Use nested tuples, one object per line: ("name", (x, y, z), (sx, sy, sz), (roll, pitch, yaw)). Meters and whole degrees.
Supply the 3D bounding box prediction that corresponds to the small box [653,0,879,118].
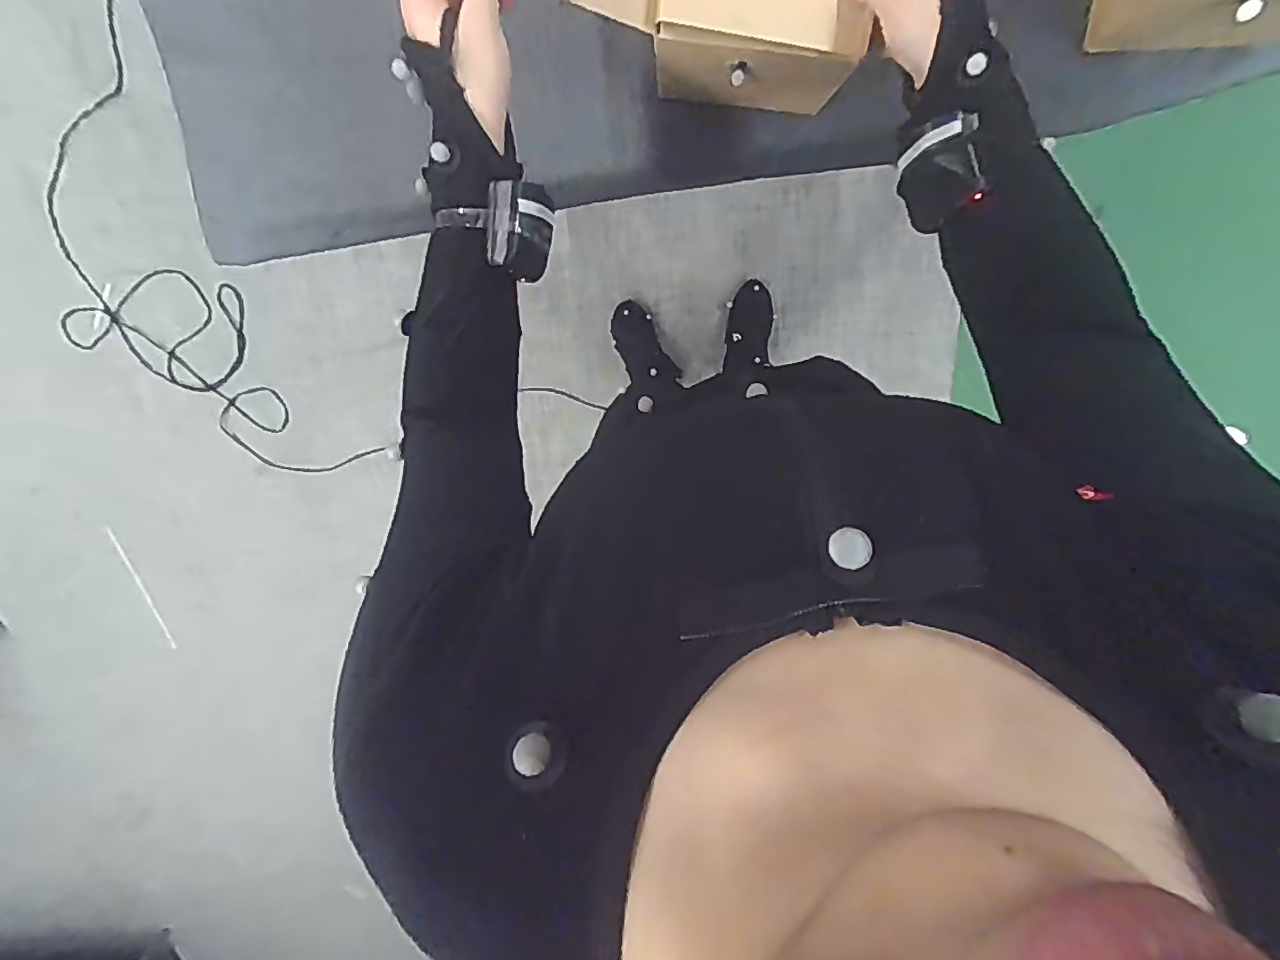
("small box", (0.112, -0.447, 0.487), (0.179, 0.176, 0.168), (8, 113, 1))
